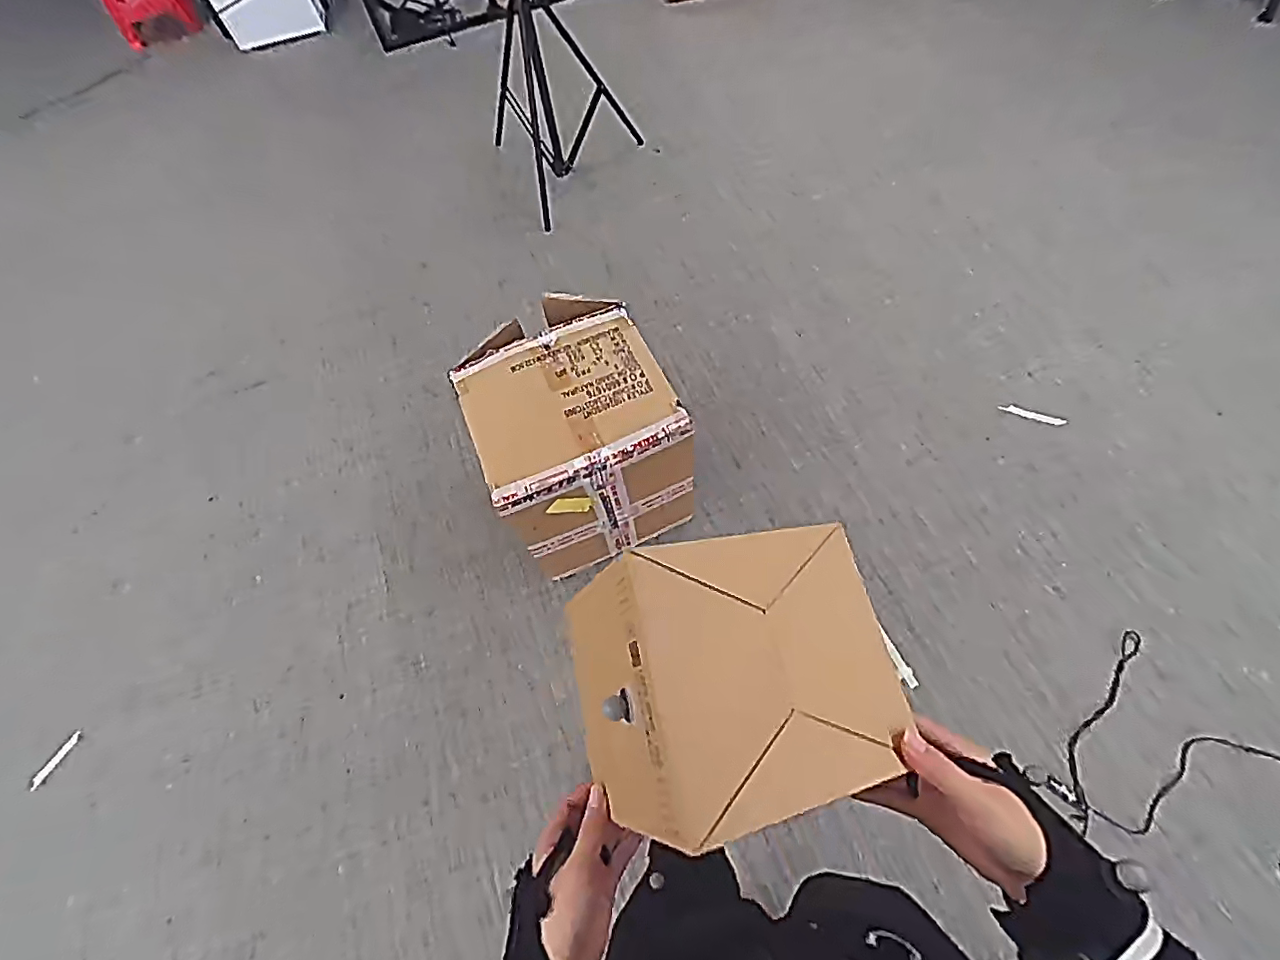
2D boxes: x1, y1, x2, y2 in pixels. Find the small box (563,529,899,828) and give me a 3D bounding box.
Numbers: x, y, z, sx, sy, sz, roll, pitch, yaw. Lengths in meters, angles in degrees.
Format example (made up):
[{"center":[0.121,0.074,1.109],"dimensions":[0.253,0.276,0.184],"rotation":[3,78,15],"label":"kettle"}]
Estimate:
[{"center":[0.056,0.144,0.414],"dimensions":[0.179,0.176,0.168],"rotation":[-3,67,-24],"label":"small box"}]
